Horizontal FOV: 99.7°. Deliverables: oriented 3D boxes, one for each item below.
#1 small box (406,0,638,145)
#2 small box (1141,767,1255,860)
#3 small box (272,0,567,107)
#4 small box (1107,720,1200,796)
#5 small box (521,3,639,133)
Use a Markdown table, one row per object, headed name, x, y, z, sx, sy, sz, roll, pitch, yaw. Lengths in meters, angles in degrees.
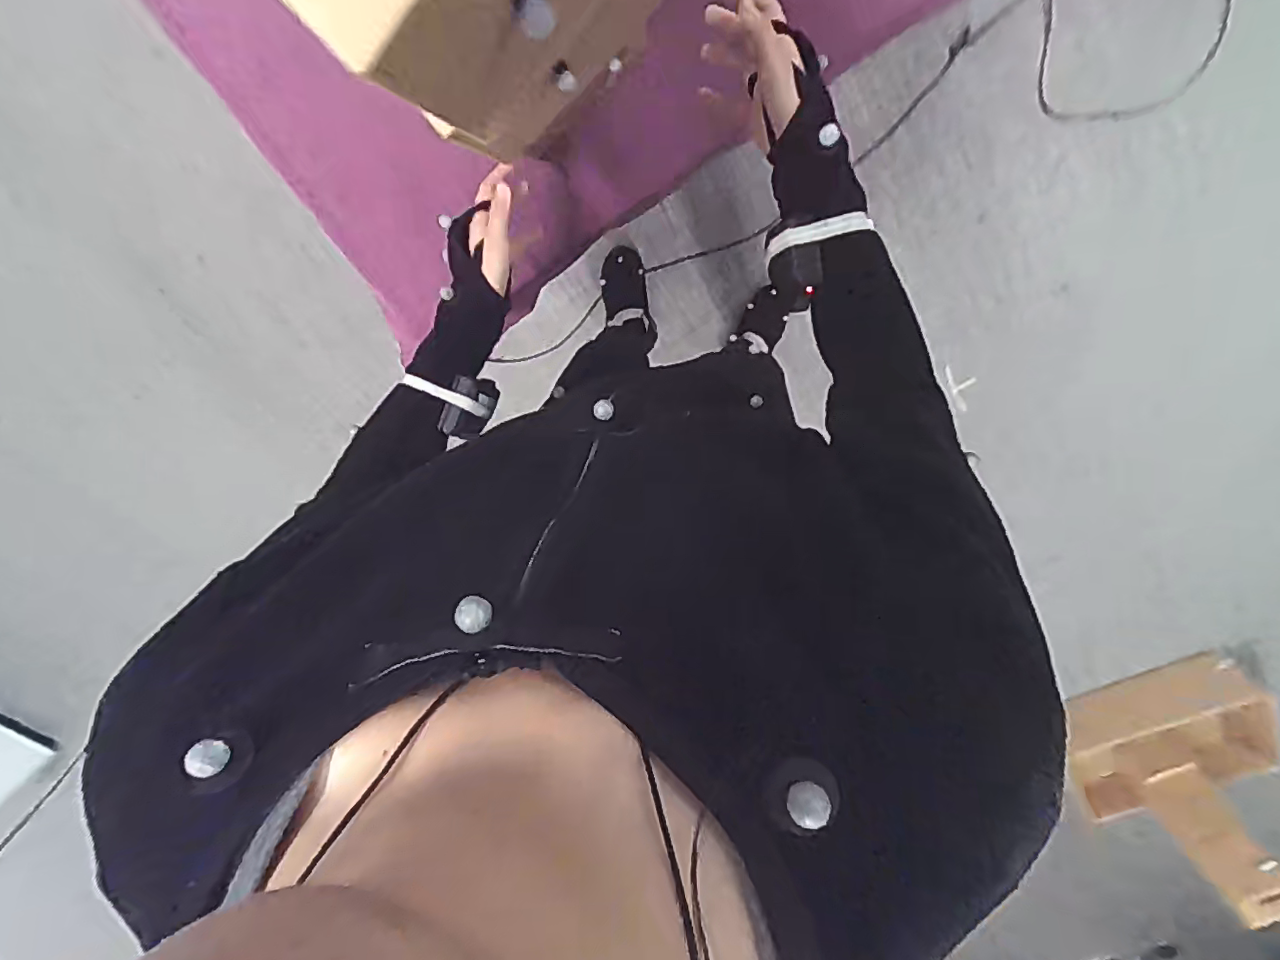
| name | x | y | z | sx | sy | sz | roll | pitch | yaw |
| --- | --- | --- | --- | --- | --- | --- | --- | --- | --- |
| small box | -0.105 | -0.350 | 0.340 | 0.179 | 0.176 | 0.168 | -36 | 110 | 18 |
| small box | 1.765 | 1.054 | 1.718 | 0.179 | 0.176 | 0.168 | -33 | 110 | 14 |
| small box | -0.096 | -0.275 | 0.195 | 0.168 | 0.176 | 0.179 | -40 | 108 | 18 |
| small box | 1.765 | 0.967 | 1.858 | 0.168 | 0.176 | 0.179 | -29 | 111 | 12 |
| small box | -0.113 | -0.442 | 0.477 | 0.168 | 0.176 | 0.179 | -36 | 109 | 17 |
